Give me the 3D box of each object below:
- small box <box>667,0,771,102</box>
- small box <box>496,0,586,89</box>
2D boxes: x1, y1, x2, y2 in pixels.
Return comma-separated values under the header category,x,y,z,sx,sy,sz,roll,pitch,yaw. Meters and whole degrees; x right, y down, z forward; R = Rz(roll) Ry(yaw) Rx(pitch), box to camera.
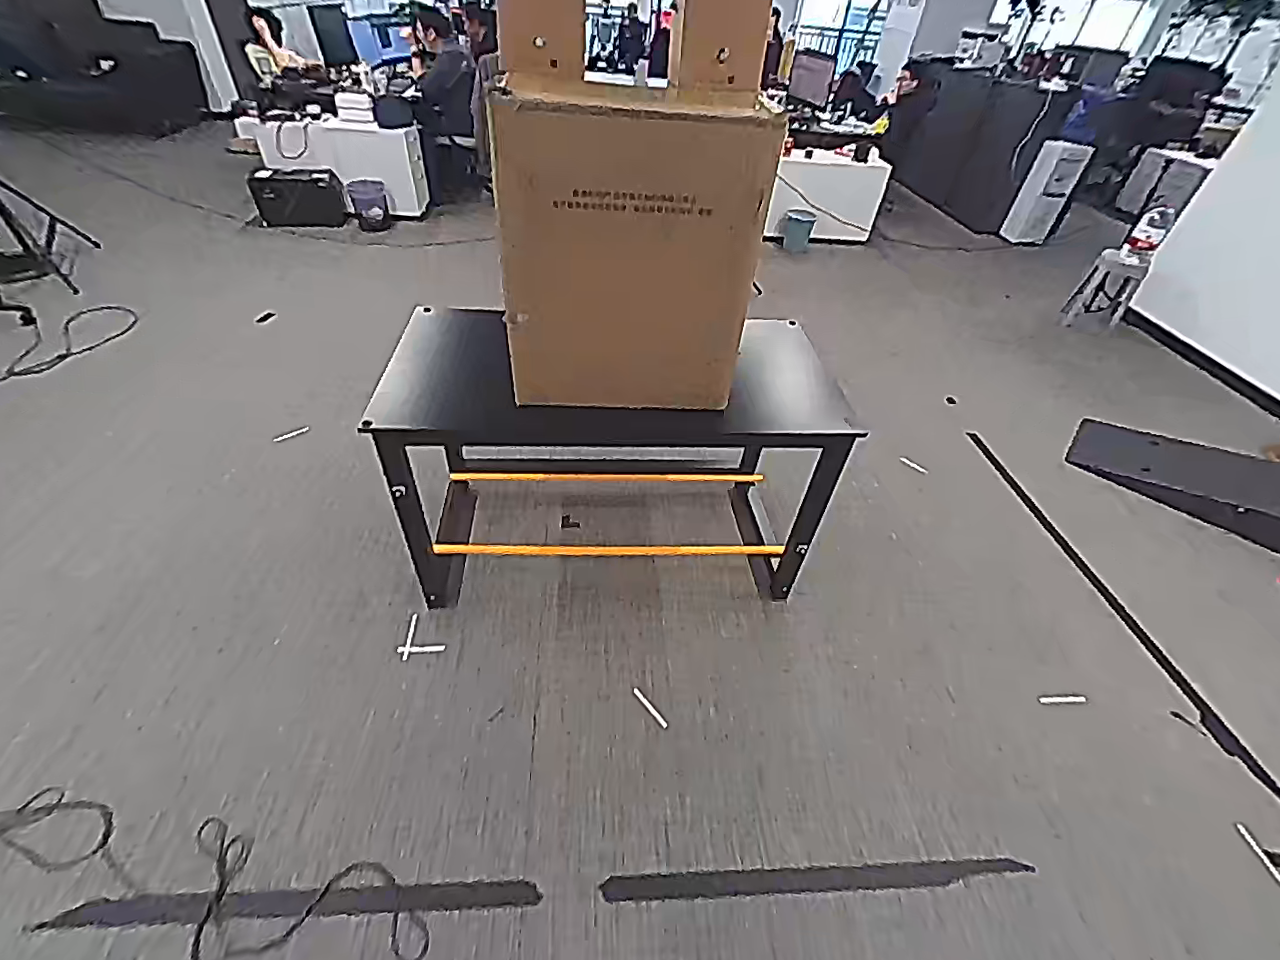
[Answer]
category,x,y,z,sx,sy,sz,roll,pitch,yaw
small box,0.150,-0.881,1.092,0.168,0.176,0.179,-1,41,-5
small box,-0.198,-0.896,1.070,0.168,0.176,0.179,-3,42,-11
